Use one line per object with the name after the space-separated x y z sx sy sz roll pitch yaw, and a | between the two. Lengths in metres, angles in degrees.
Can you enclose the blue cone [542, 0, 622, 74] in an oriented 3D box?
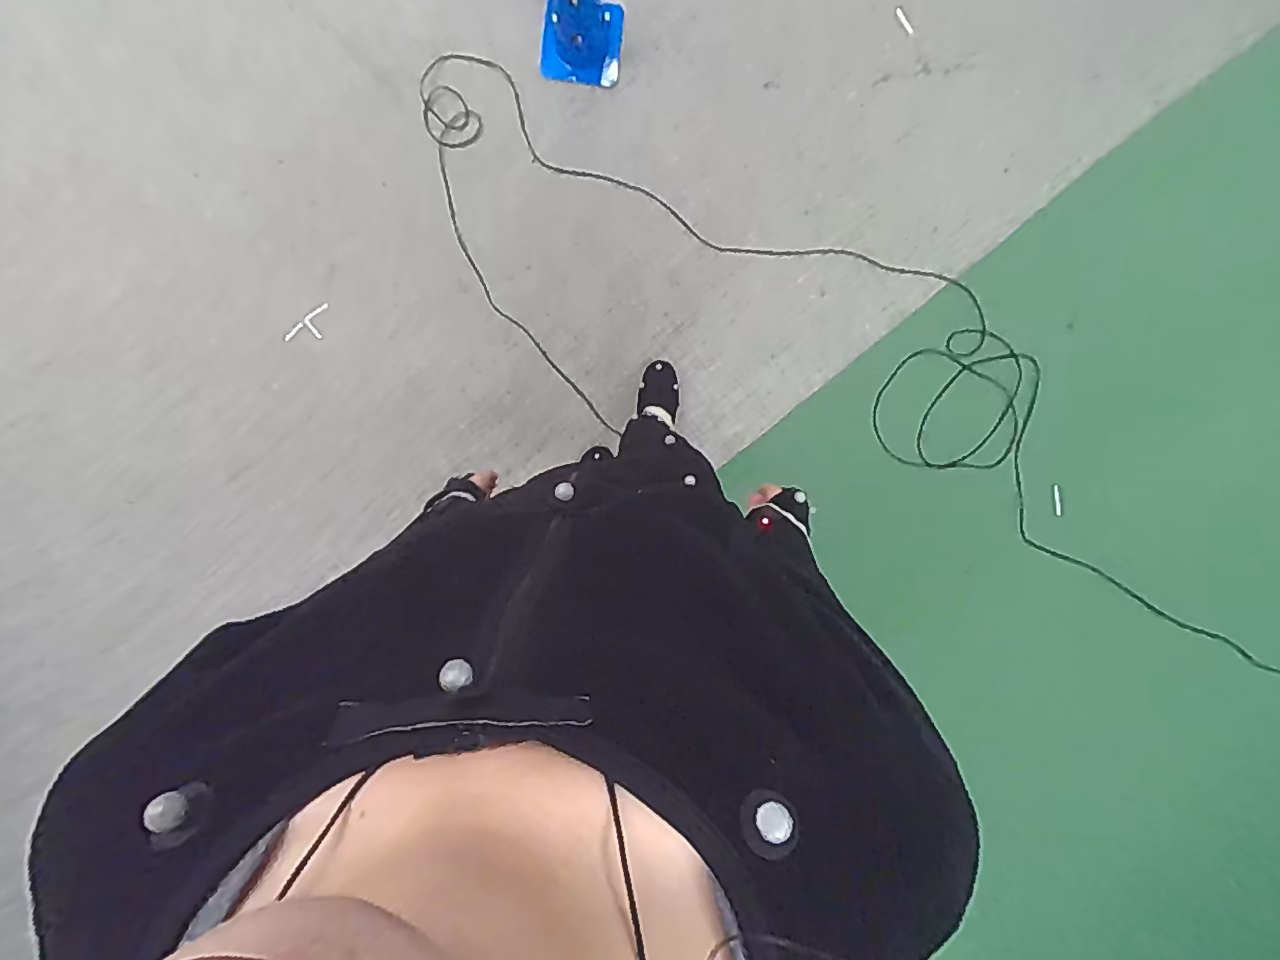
-0.141 -1.109 1.186 0.192 0.380 0.193 6 94 -2 | blue cone
